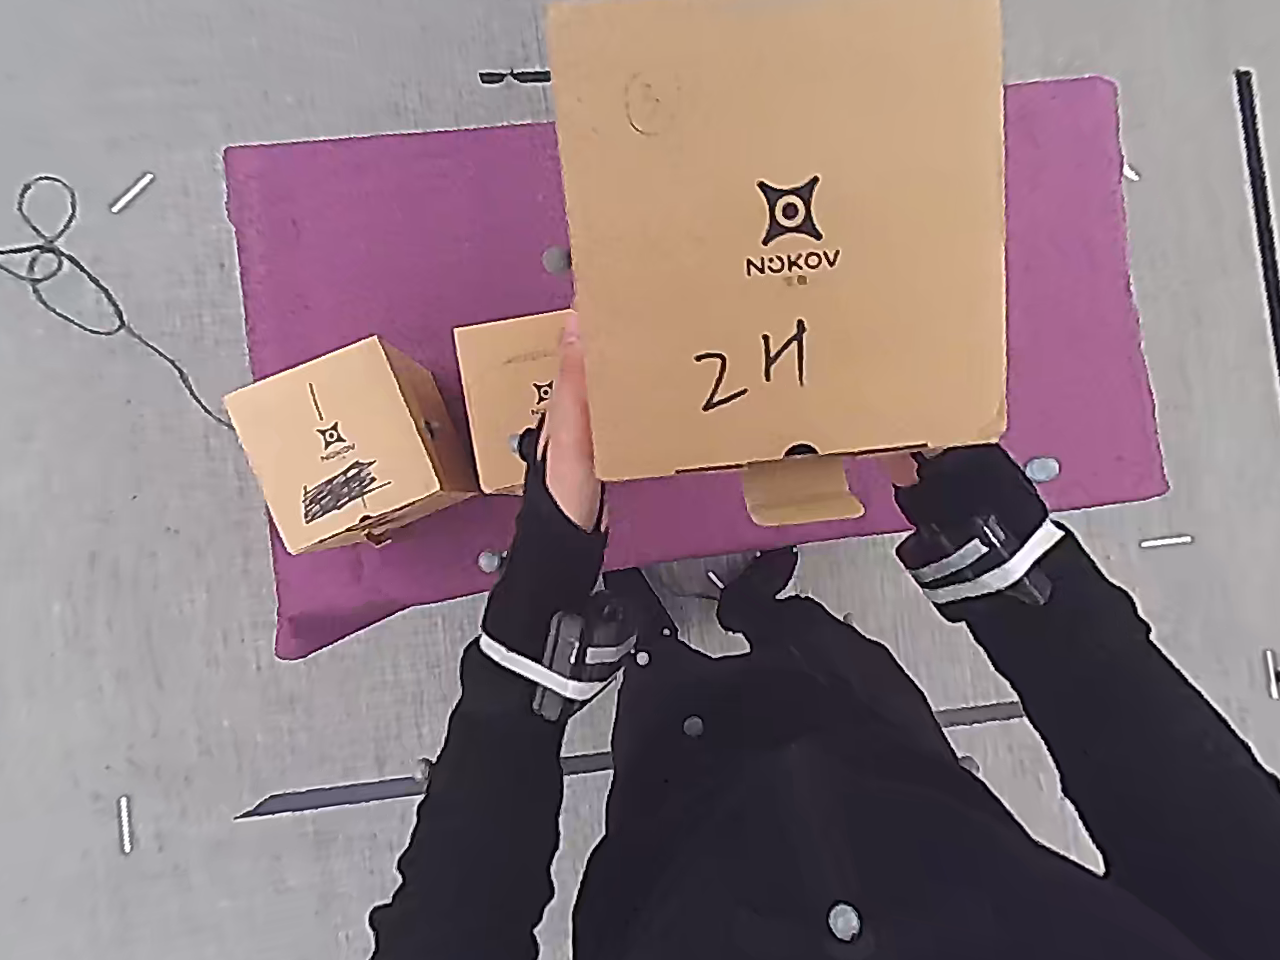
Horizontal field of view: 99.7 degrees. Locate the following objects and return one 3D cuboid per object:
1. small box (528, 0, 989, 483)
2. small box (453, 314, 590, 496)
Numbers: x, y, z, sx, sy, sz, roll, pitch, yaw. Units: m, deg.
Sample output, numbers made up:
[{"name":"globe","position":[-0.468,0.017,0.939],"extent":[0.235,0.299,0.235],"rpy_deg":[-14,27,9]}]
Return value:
[{"name":"small box","position":[0.045,-0.101,0.281],"extent":[0.168,0.176,0.179],"rpy_deg":[-6,98,0]},{"name":"small box","position":[-0.103,-0.081,0.642],"extent":[0.168,0.176,0.179],"rpy_deg":[-11,89,-4]}]
